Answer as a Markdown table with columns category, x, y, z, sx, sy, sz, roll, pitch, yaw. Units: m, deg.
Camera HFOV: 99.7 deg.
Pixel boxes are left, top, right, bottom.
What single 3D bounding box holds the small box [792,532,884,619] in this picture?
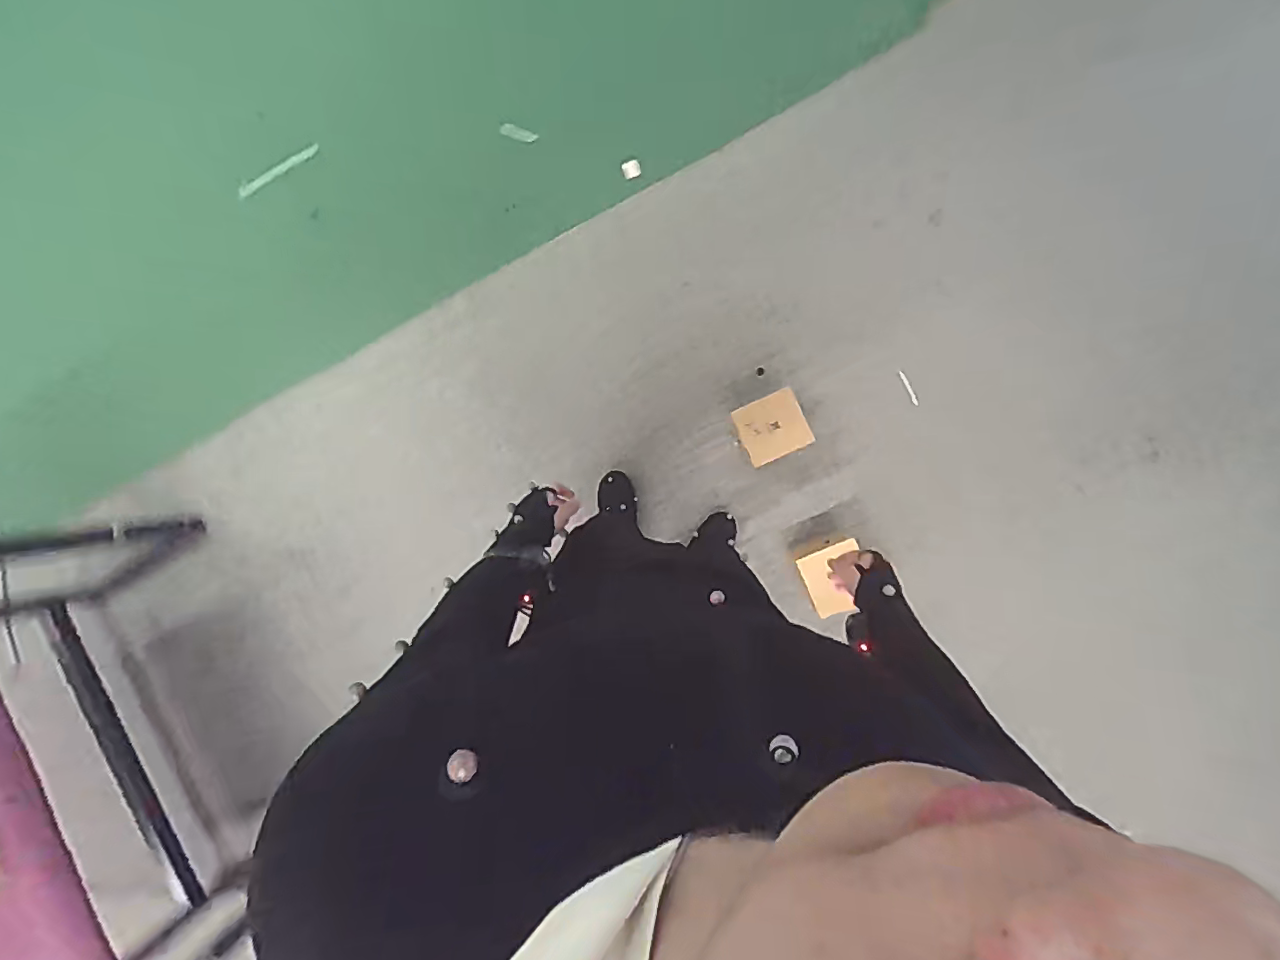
| category | x | y | z | sx | sy | sz | roll | pitch | yaw |
| --- | --- | --- | --- | --- | --- | --- | --- | --- | --- |
| small box | 0.534 | 0.253 | 1.487 | 0.168 | 0.176 | 0.179 | -23 | 90 | 8 |

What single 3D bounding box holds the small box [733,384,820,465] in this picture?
| category | x | y | z | sx | sy | sz | roll | pitch | yaw |
| --- | --- | --- | --- | --- | --- | --- | --- | --- | --- |
| small box | 0.368 | -0.149 | 1.493 | 0.179 | 0.176 | 0.168 | -24 | 89 | 8 |
